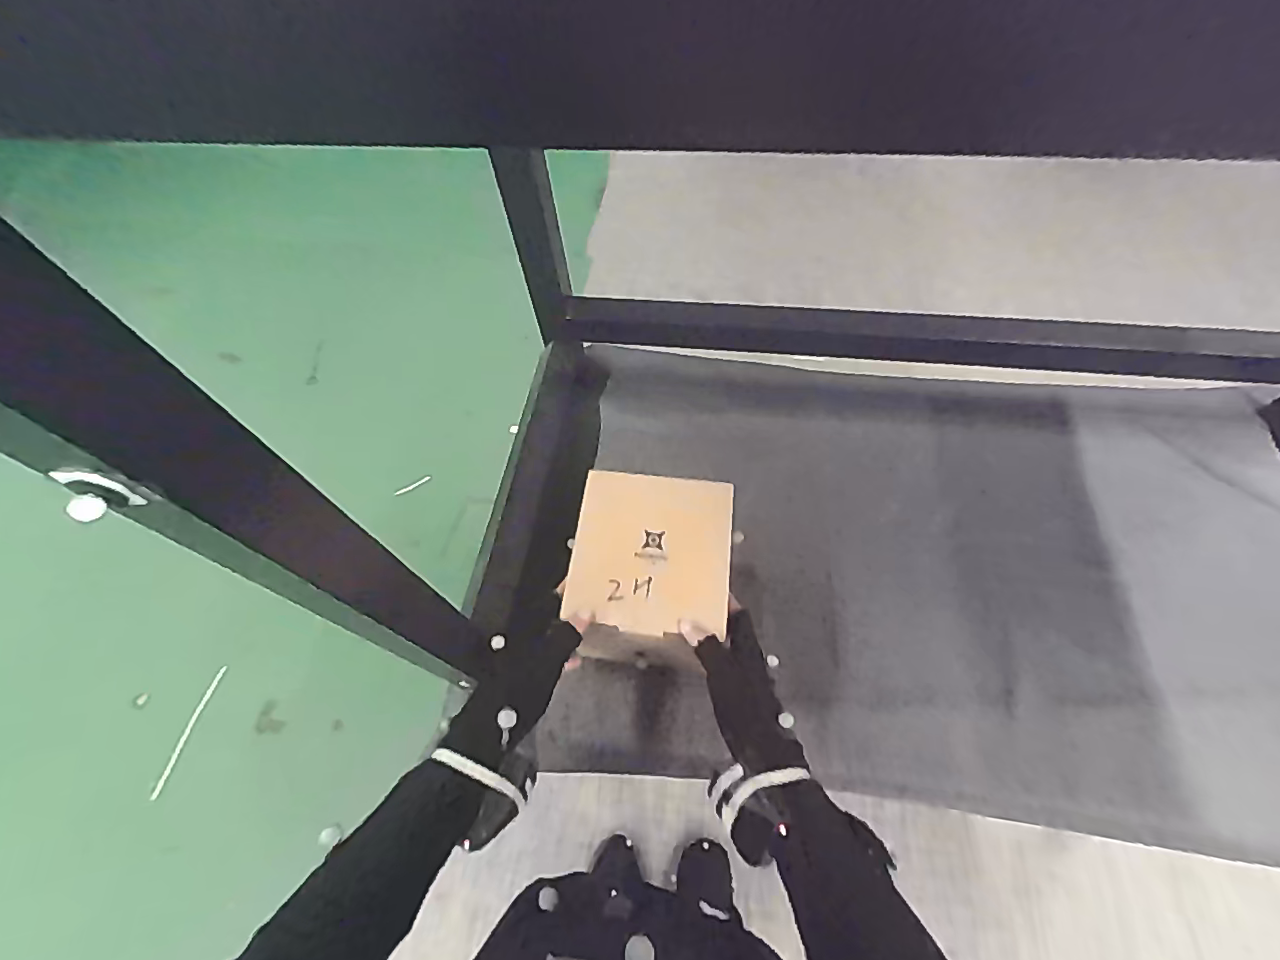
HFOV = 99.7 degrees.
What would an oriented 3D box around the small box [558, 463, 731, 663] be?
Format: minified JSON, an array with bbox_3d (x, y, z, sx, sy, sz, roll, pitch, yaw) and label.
[{"bbox_3d":[0.011,0.102,0.636,0.168,0.176,0.179,5,61,6],"label":"small box"}]
